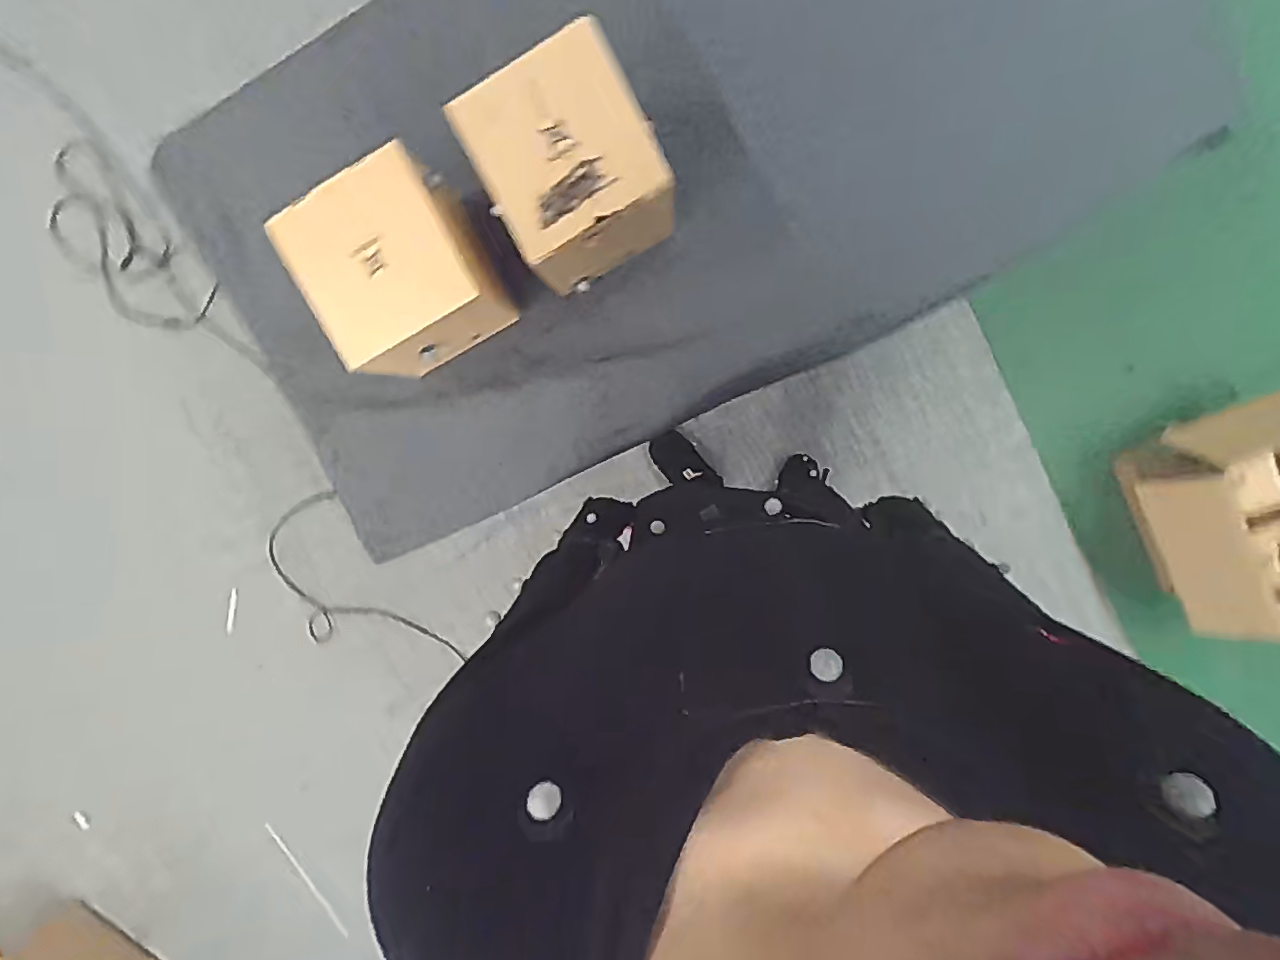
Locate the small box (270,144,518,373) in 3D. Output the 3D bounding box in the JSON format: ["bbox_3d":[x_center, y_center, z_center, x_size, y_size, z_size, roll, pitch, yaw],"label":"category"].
[{"bbox_3d":[-0.270,-0.240,0.640,0.168,0.176,0.179,-28,95,7],"label":"small box"}]
